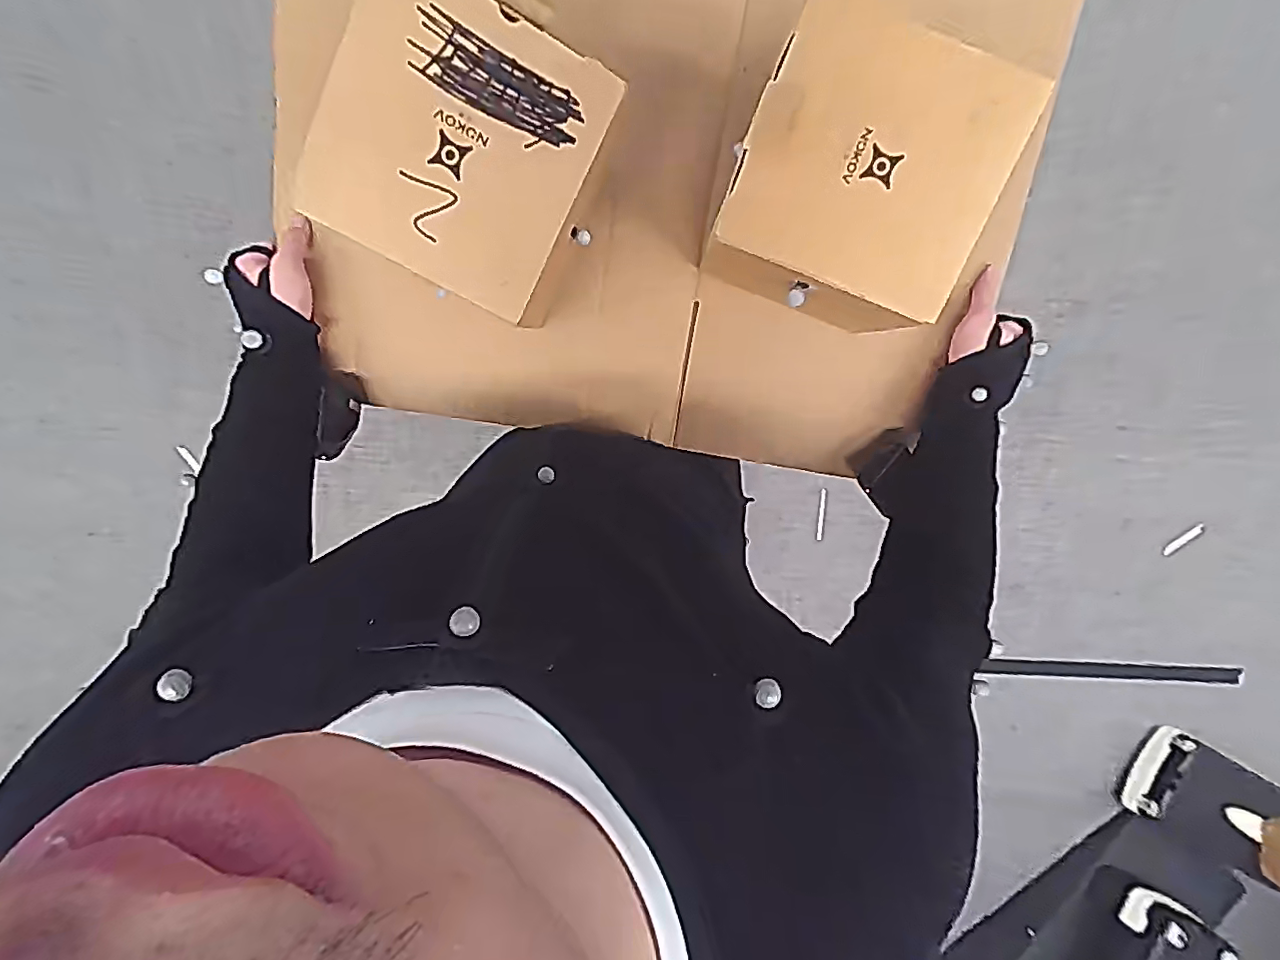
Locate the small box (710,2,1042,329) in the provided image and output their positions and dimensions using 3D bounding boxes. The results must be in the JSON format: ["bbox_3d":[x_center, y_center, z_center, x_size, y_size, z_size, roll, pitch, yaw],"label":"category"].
[{"bbox_3d":[0.172,-0.238,0.462,0.179,0.176,0.168,22,104,0],"label":"small box"}]
